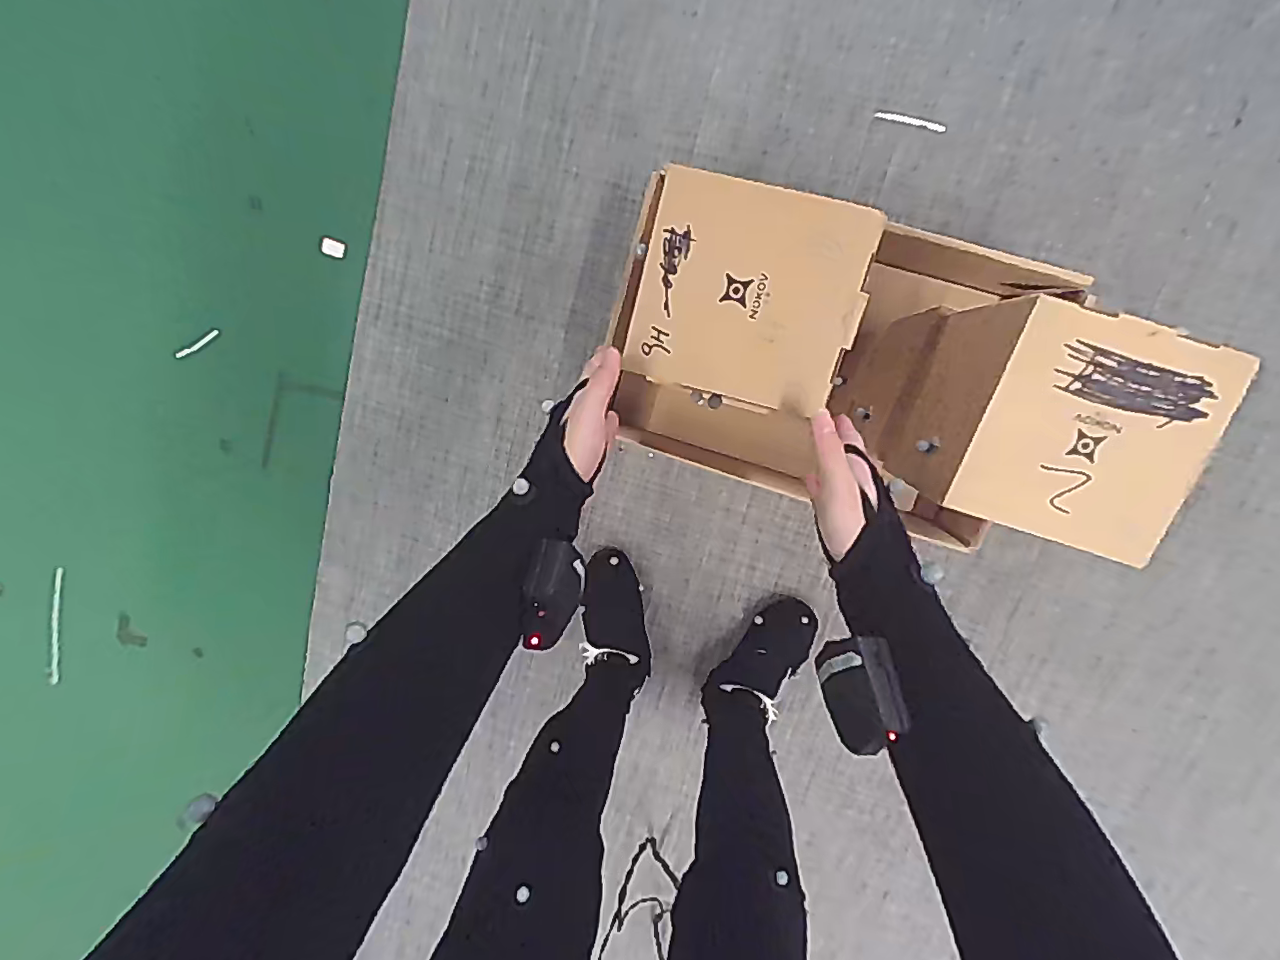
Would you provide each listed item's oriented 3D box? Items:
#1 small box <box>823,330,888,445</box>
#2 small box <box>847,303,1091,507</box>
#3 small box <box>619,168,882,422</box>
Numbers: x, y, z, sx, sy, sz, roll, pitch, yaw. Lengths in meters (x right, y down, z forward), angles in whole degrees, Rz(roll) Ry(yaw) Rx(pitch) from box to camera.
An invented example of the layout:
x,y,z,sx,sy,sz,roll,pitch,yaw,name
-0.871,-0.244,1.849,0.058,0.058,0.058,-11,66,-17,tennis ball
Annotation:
x,y,z,sx,sy,sz,roll,pitch,yaw,name
0.398,-0.116,0.810,0.179,0.176,0.168,22,103,6,small box
0.369,-0.091,0.651,0.168,0.176,0.179,21,103,4,small box
0.094,-0.162,0.515,0.179,0.176,0.168,15,101,5,small box
